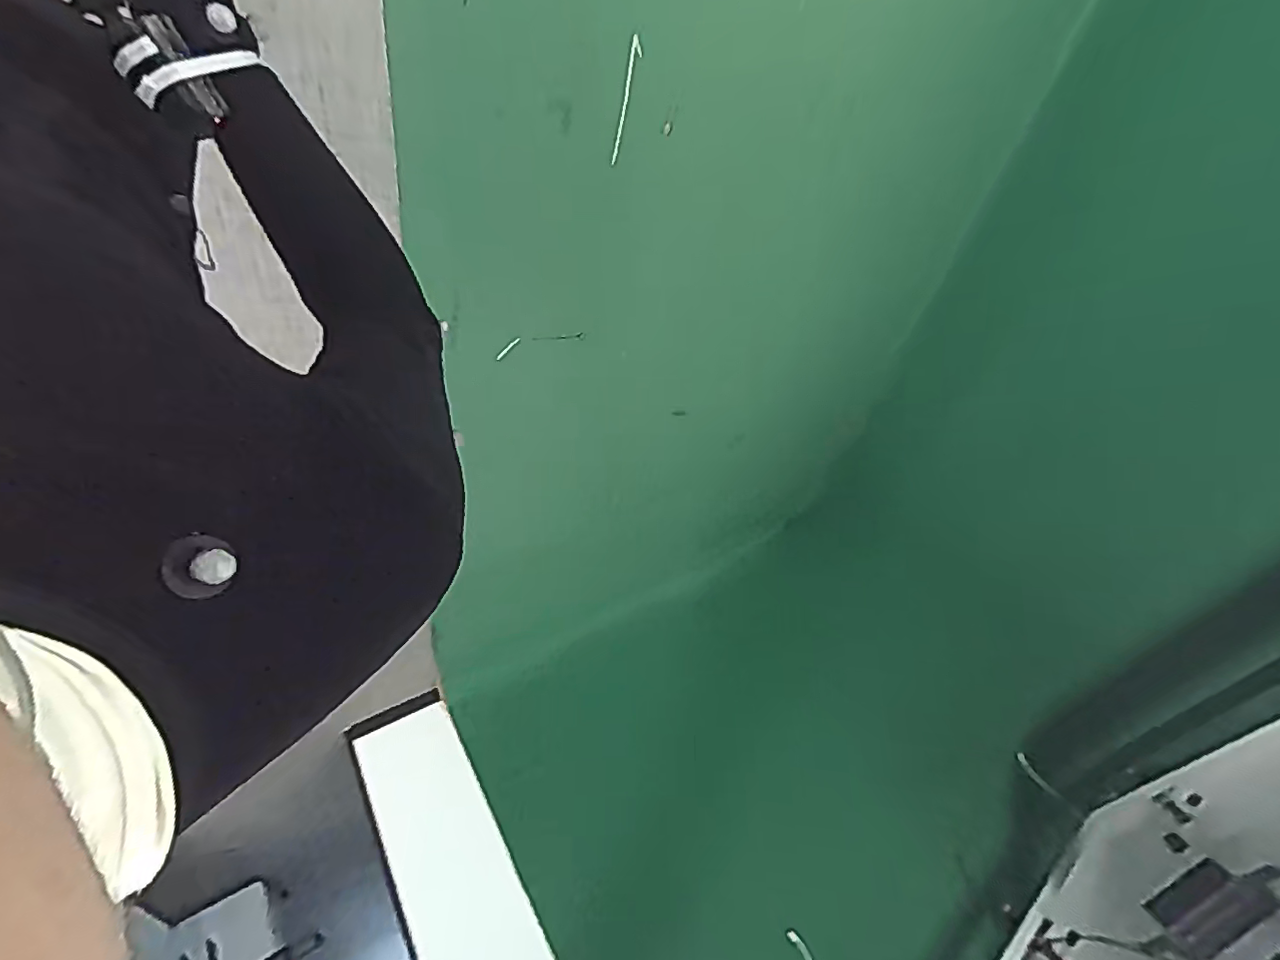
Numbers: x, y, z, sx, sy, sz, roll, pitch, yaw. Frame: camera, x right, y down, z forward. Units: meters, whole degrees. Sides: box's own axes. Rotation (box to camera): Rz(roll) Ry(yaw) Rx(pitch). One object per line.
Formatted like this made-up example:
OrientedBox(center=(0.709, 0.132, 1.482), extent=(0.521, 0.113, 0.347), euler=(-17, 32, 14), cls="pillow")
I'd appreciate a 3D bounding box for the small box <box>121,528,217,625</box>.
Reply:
OrientedBox(center=(-1.257, 0.248, 1.445), extent=(0.168, 0.176, 0.179), euler=(-12, 135, -37), cls="small box")
